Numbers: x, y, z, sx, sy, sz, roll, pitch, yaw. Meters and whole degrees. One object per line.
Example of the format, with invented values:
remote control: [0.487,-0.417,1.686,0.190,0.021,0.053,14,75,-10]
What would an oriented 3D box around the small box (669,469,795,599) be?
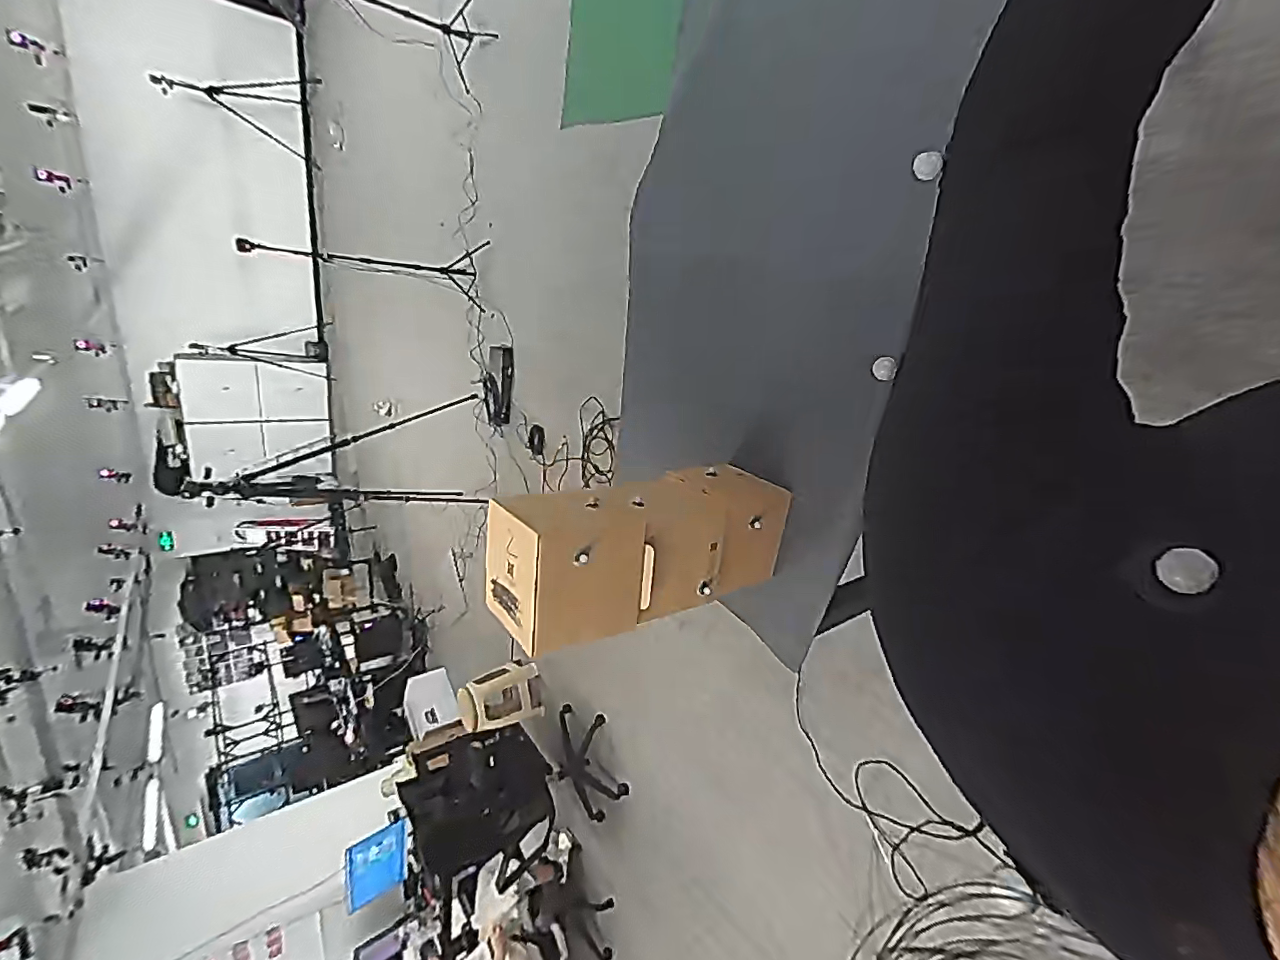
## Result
small box: [0.159,0.087,0.988,0.168,0.176,0.179,30,120,49]

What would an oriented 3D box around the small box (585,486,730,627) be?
small box: [0.027,0.113,0.893,0.179,0.176,0.168,25,115,51]
